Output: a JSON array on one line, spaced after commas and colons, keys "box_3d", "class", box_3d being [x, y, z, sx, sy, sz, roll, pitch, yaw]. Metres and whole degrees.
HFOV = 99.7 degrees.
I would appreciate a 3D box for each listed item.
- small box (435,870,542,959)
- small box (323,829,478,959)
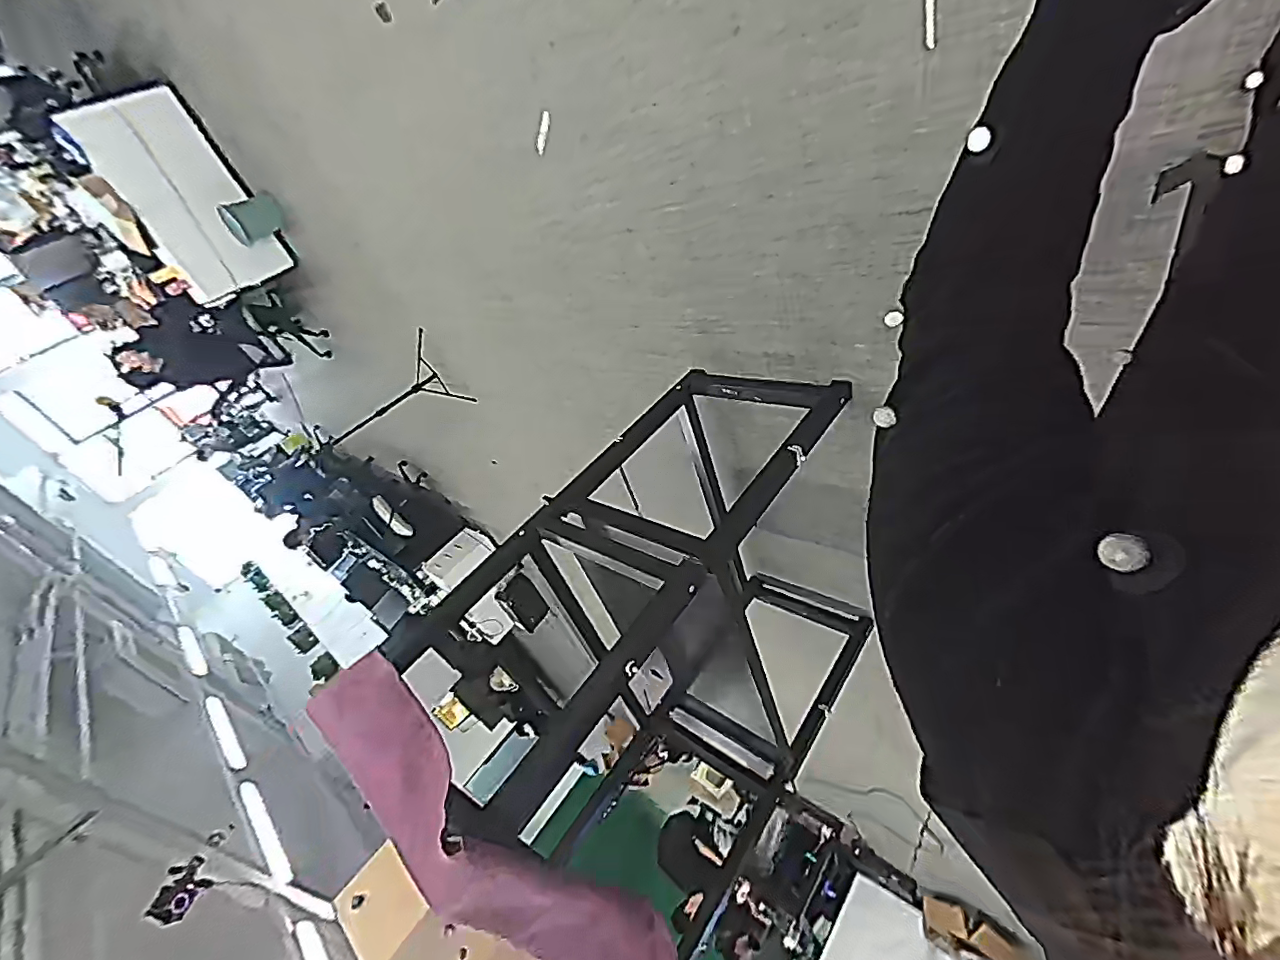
[{"box_3d": [-0.346, 1.034, 1.215, 0.179, 0.176, 0.168, 13, 138, 45], "class": "small box"}, {"box_3d": [-0.439, 0.791, 1.010, 0.179, 0.176, 0.168, 19, 144, 38], "class": "small box"}]
